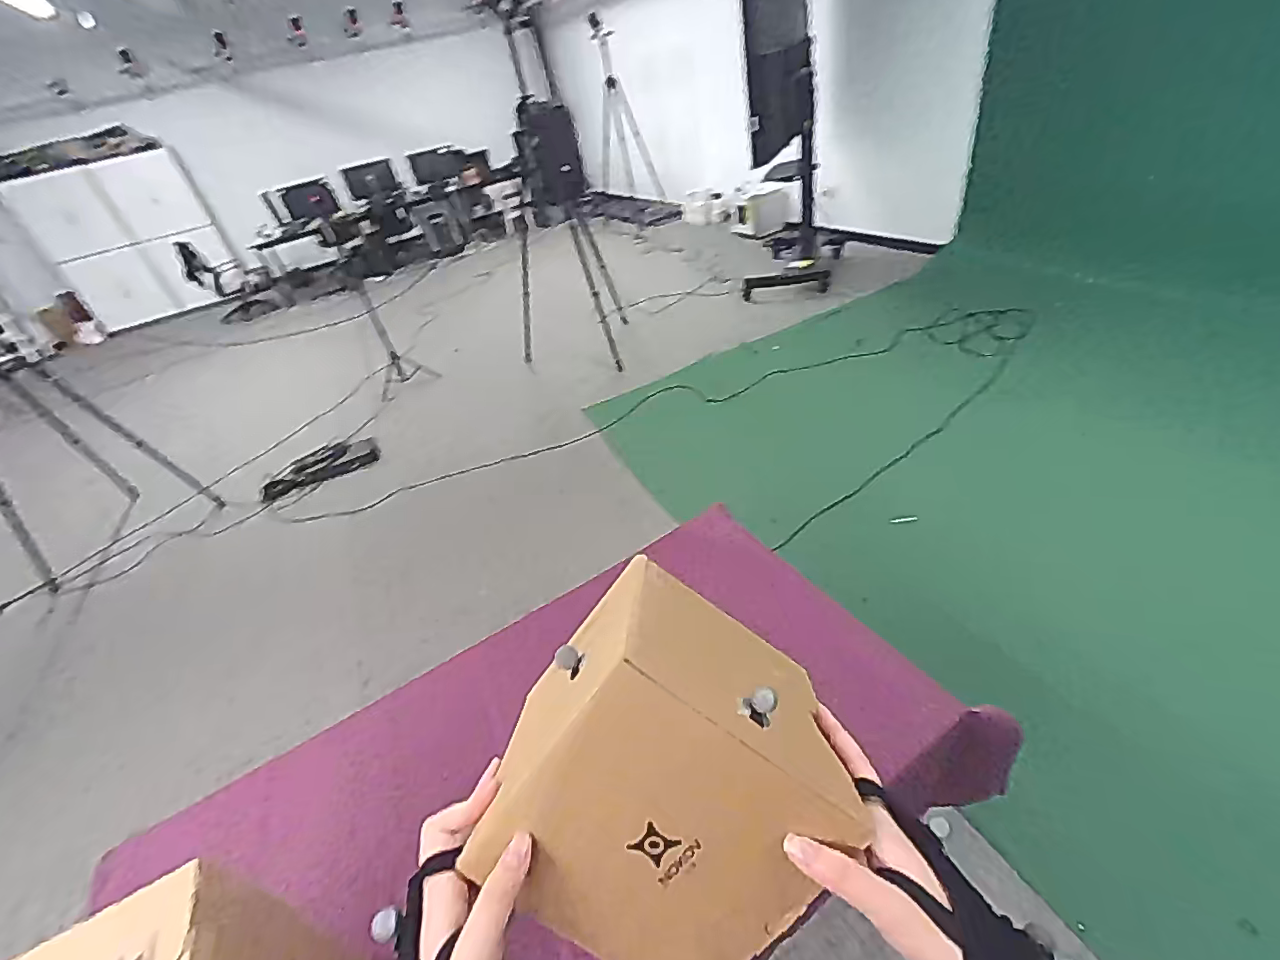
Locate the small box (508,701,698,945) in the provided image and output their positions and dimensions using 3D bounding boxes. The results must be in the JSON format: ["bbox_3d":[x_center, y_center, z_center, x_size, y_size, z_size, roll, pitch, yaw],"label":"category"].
[{"bbox_3d":[-0.040,0.427,0.681,0.179,0.176,0.168,-26,38,-17],"label":"small box"}]

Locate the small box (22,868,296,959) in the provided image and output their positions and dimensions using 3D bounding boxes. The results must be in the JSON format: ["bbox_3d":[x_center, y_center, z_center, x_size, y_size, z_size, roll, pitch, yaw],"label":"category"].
[{"bbox_3d":[-0.421,0.483,0.454,0.179,0.176,0.168,-26,39,-16],"label":"small box"}]
